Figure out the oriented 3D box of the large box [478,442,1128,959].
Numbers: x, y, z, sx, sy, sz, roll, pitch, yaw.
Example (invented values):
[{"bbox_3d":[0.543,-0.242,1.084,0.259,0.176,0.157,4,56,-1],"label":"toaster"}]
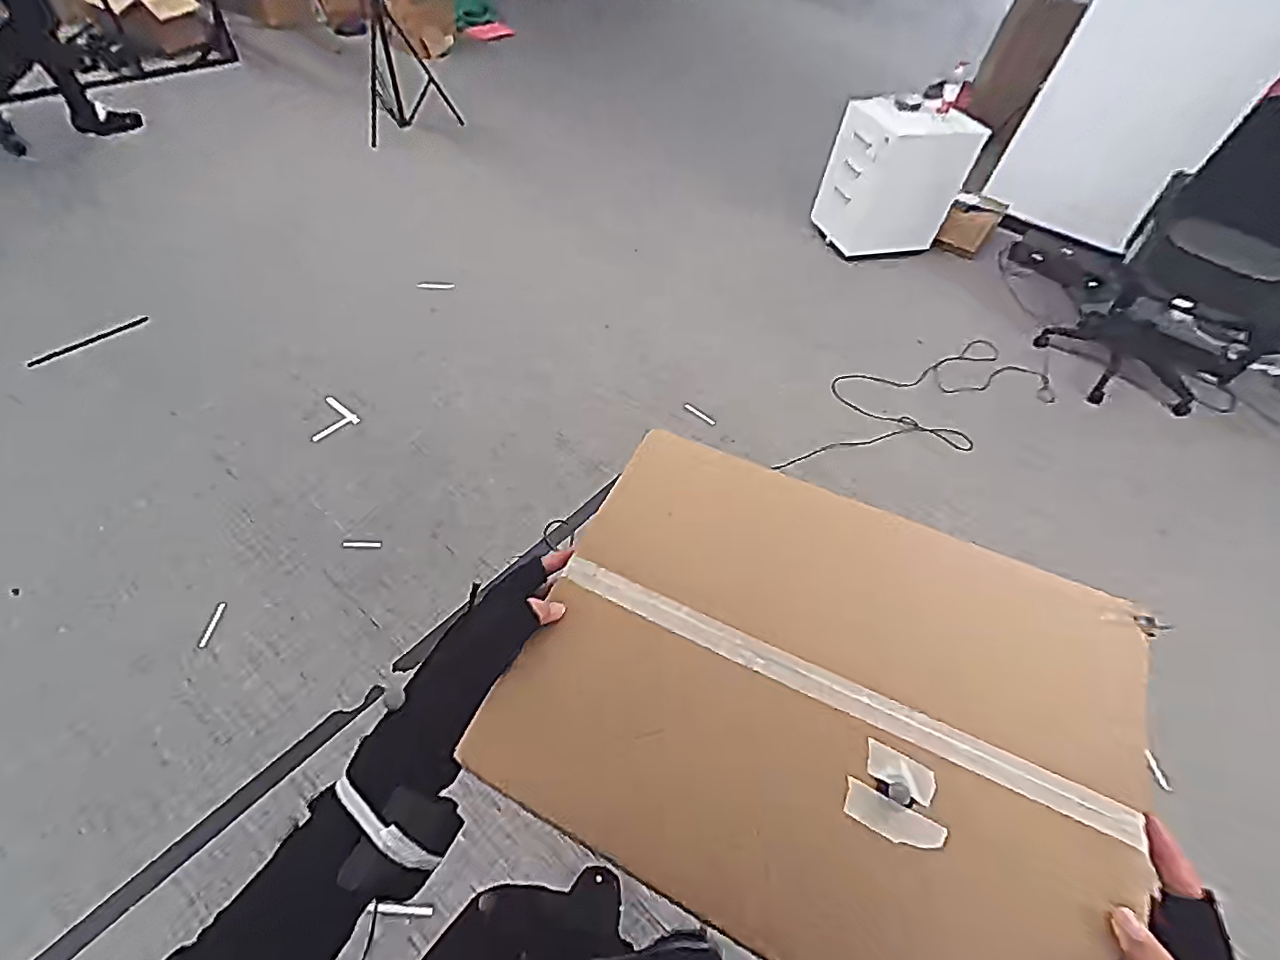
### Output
[{"bbox_3d":[0.132,0.225,0.522,0.408,0.320,0.320,23,63,16],"label":"large box"}]
